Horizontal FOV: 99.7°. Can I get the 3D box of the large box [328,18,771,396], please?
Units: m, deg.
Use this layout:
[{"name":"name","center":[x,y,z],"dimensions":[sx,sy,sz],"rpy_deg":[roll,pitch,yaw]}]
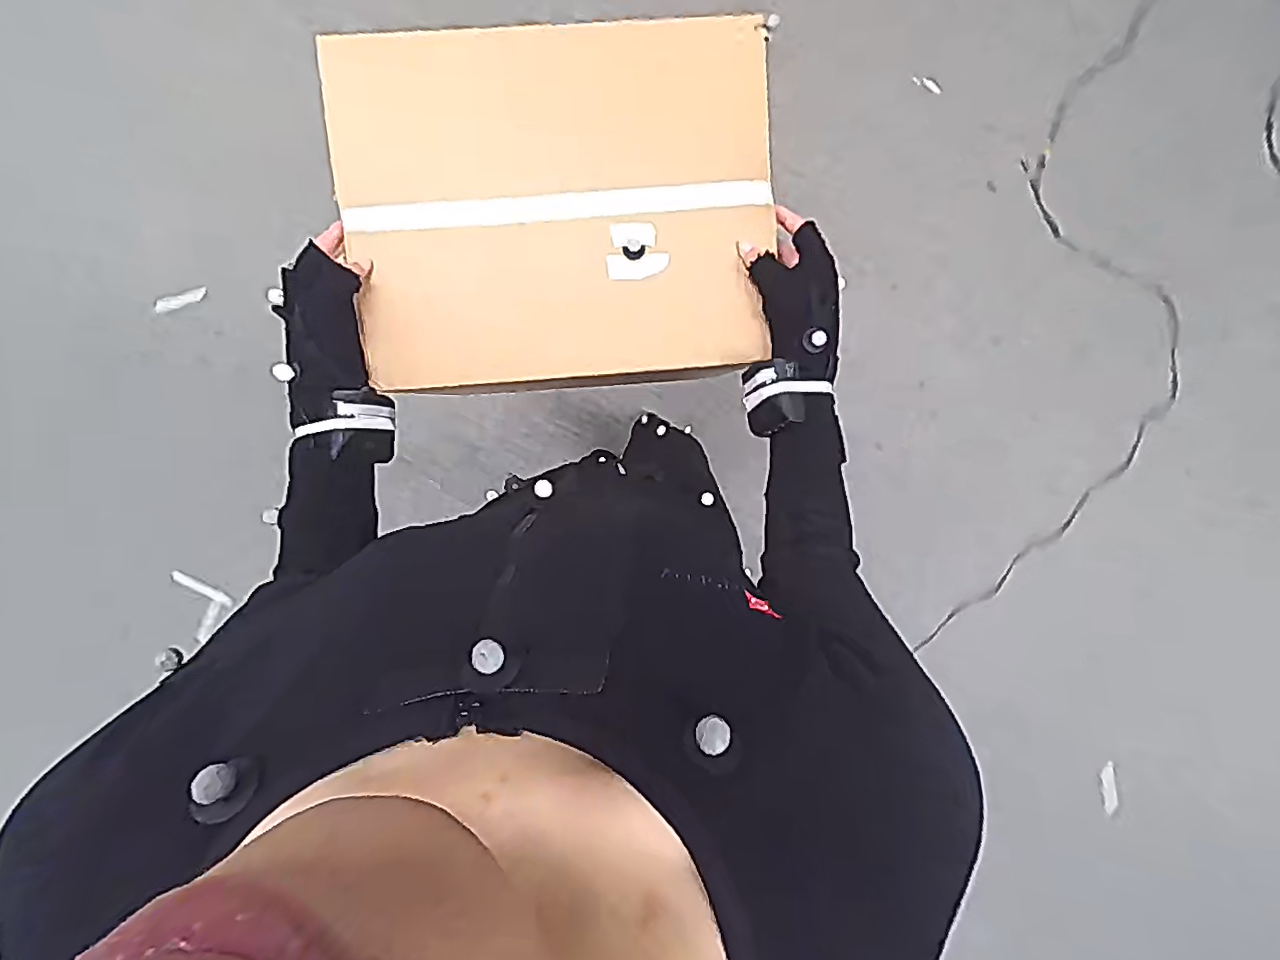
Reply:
[{"name":"large box","center":[-0.087,-0.284,0.672],"dimensions":[0.408,0.320,0.320],"rpy_deg":[-6,98,-2]}]
